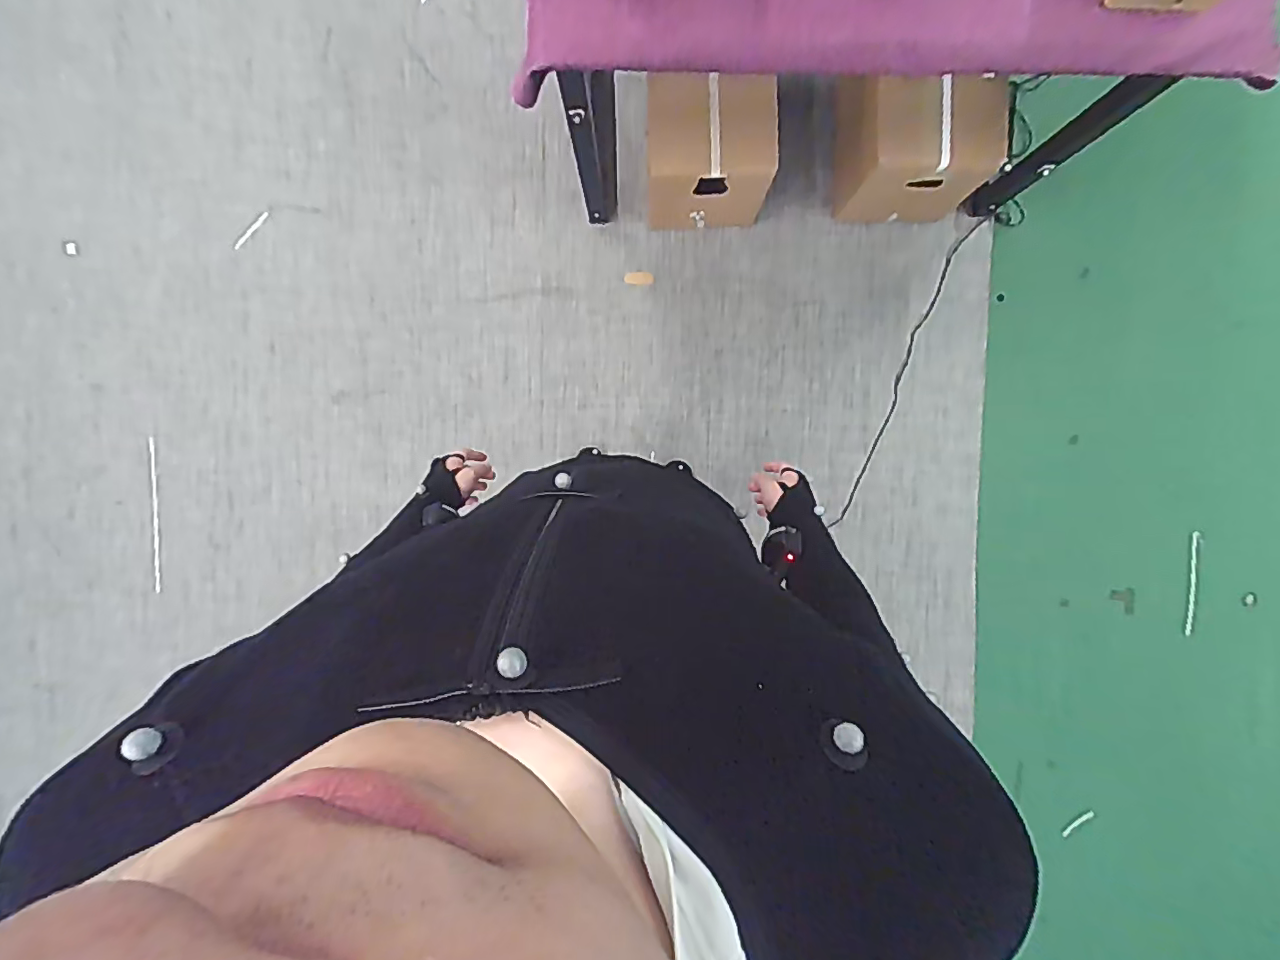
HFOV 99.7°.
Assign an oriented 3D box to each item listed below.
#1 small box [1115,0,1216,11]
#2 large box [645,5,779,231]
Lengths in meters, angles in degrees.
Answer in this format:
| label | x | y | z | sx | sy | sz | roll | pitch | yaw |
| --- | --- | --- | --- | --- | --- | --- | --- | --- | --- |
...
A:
| label | x | y | z | sx | sy | sz | roll | pitch | yaw |
| --- | --- | --- | --- | --- | --- | --- | --- | --- | --- |
| small box | 0.832 | -0.841 | 0.785 | 0.168 | 0.176 | 0.179 | 3 | 90 | 2 |
| large box | 0.177 | -0.938 | 1.452 | 0.320 | 0.320 | 0.408 | -2 | 91 | 0 |
